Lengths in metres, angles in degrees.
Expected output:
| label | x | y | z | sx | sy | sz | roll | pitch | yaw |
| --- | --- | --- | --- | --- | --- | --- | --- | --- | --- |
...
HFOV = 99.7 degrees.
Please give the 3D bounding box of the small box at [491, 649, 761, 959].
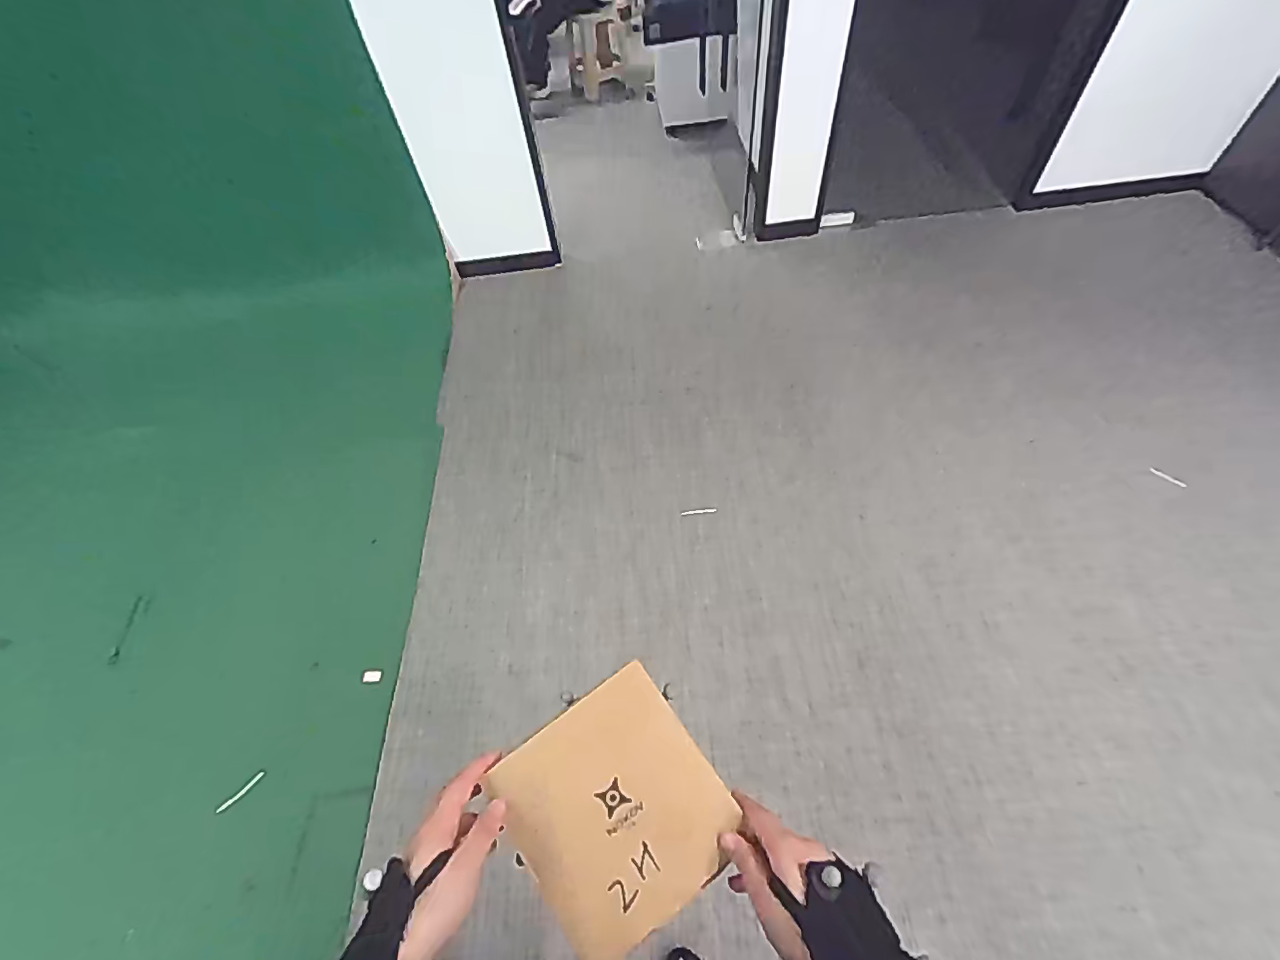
| label | x | y | z | sx | sy | sz | roll | pitch | yaw |
| --- | --- | --- | --- | --- | --- | --- | --- | --- | --- |
| small box | -0.017 | 0.289 | 0.526 | 0.168 | 0.176 | 0.179 | -34 | 76 | -13 |
